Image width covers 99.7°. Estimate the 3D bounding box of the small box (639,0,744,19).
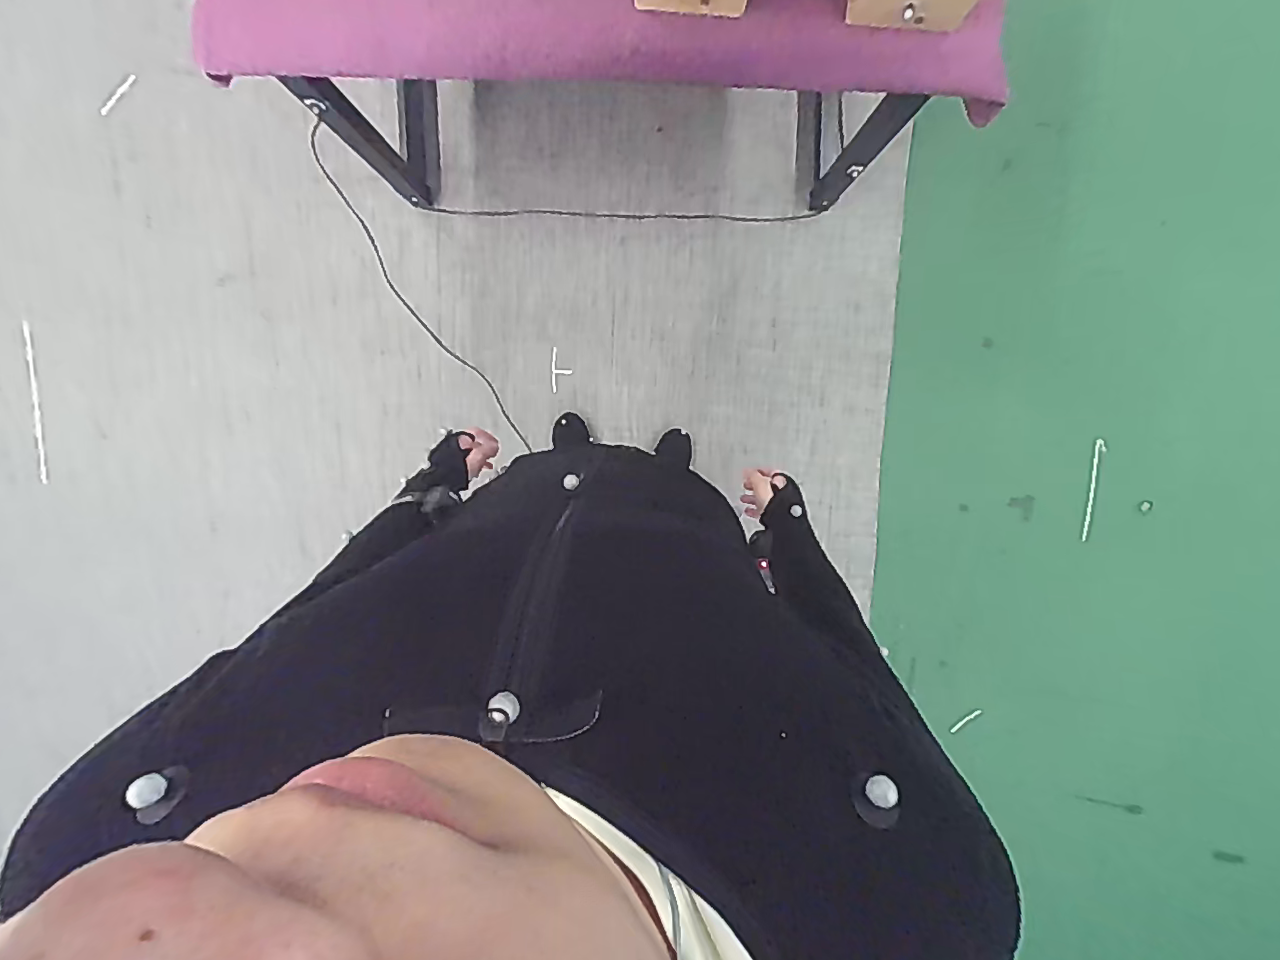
[{"bbox_3d":[0.076,-0.777,0.733,0.168,0.176,0.179,3,95,-1],"label":"small box"}]
